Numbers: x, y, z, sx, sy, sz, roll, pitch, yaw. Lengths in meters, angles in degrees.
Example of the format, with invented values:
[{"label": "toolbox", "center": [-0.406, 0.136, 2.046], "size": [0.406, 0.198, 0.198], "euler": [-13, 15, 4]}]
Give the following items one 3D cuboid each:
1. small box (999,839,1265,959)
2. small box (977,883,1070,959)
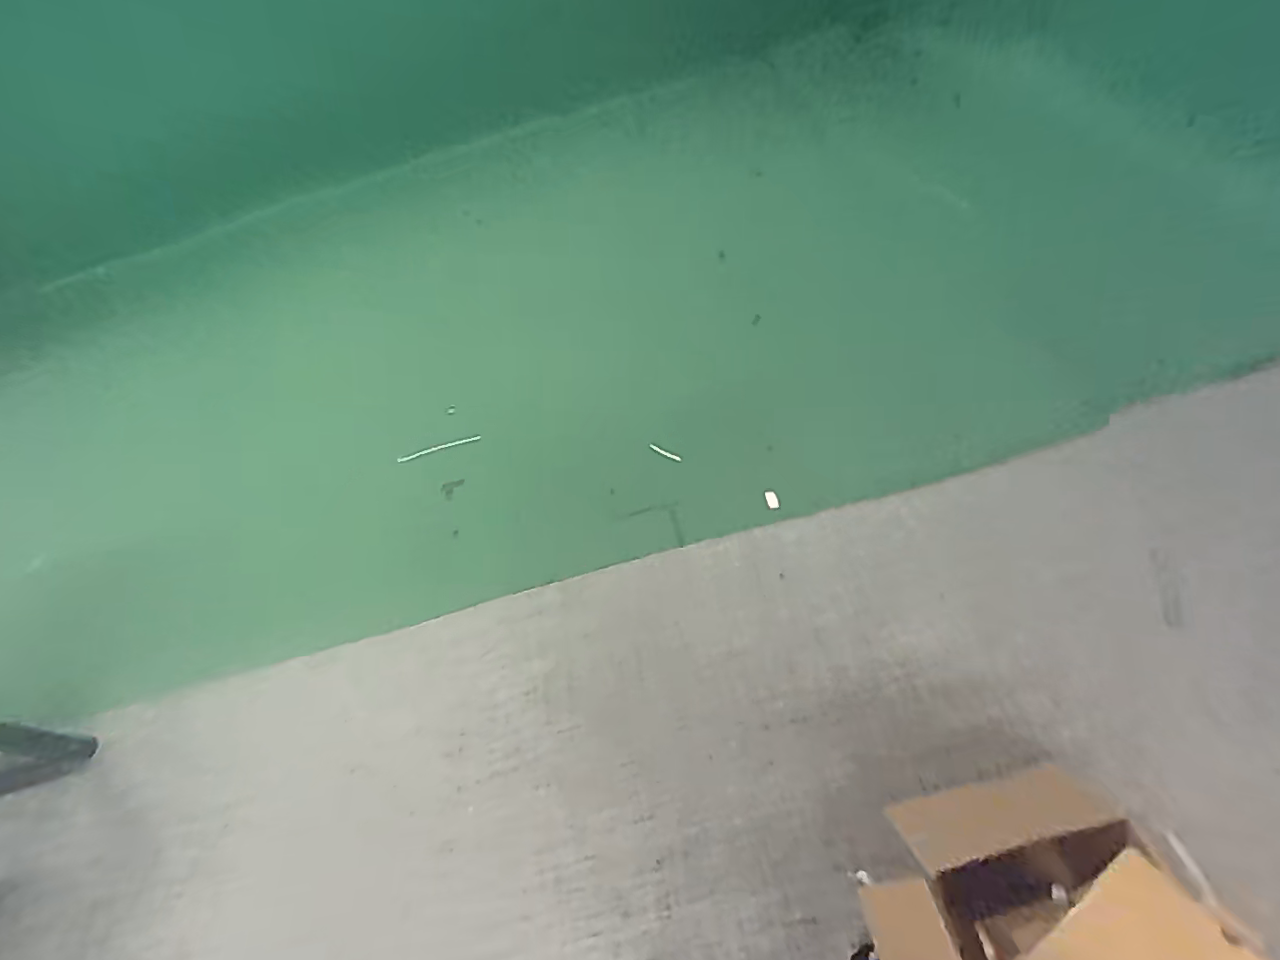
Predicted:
[{"label": "small box", "center": [0.474, 0.506, 0.521], "size": [0.179, 0.176, 0.168], "euler": [-28, 40, -17]}, {"label": "small box", "center": [0.590, 0.654, 0.711], "size": [0.179, 0.176, 0.168], "euler": [-19, 54, 2]}]
